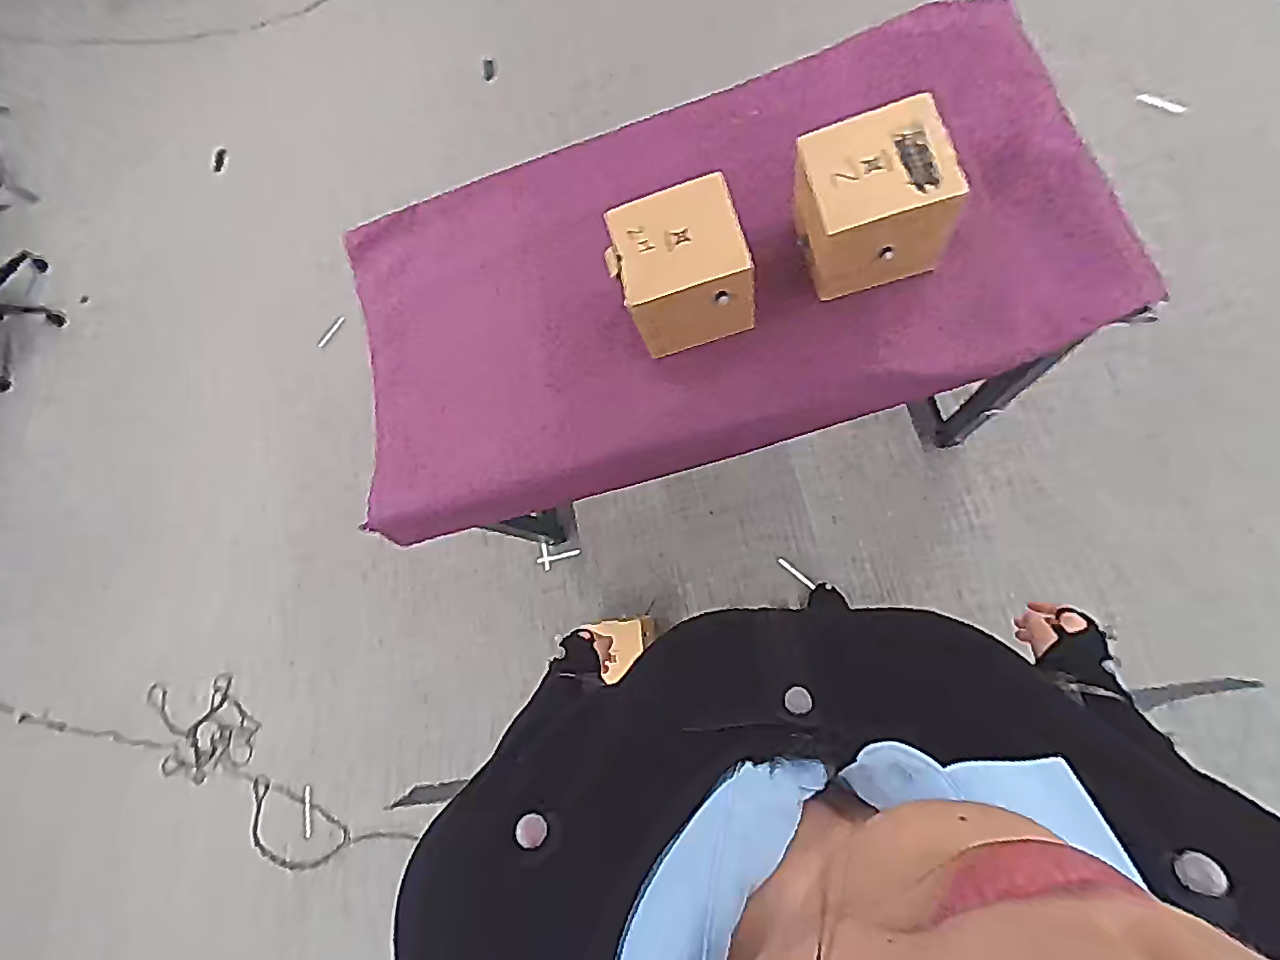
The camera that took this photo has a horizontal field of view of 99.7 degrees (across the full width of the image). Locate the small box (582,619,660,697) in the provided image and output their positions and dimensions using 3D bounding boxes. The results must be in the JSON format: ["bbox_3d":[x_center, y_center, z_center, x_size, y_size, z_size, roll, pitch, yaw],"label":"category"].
[{"bbox_3d":[-0.047,0.472,1.451,0.168,0.176,0.179,-9,76,11],"label":"small box"}]

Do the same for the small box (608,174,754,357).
[{"bbox_3d":[0.069,-0.316,0.828,0.179,0.176,0.168,-16,74,10],"label":"small box"}]
